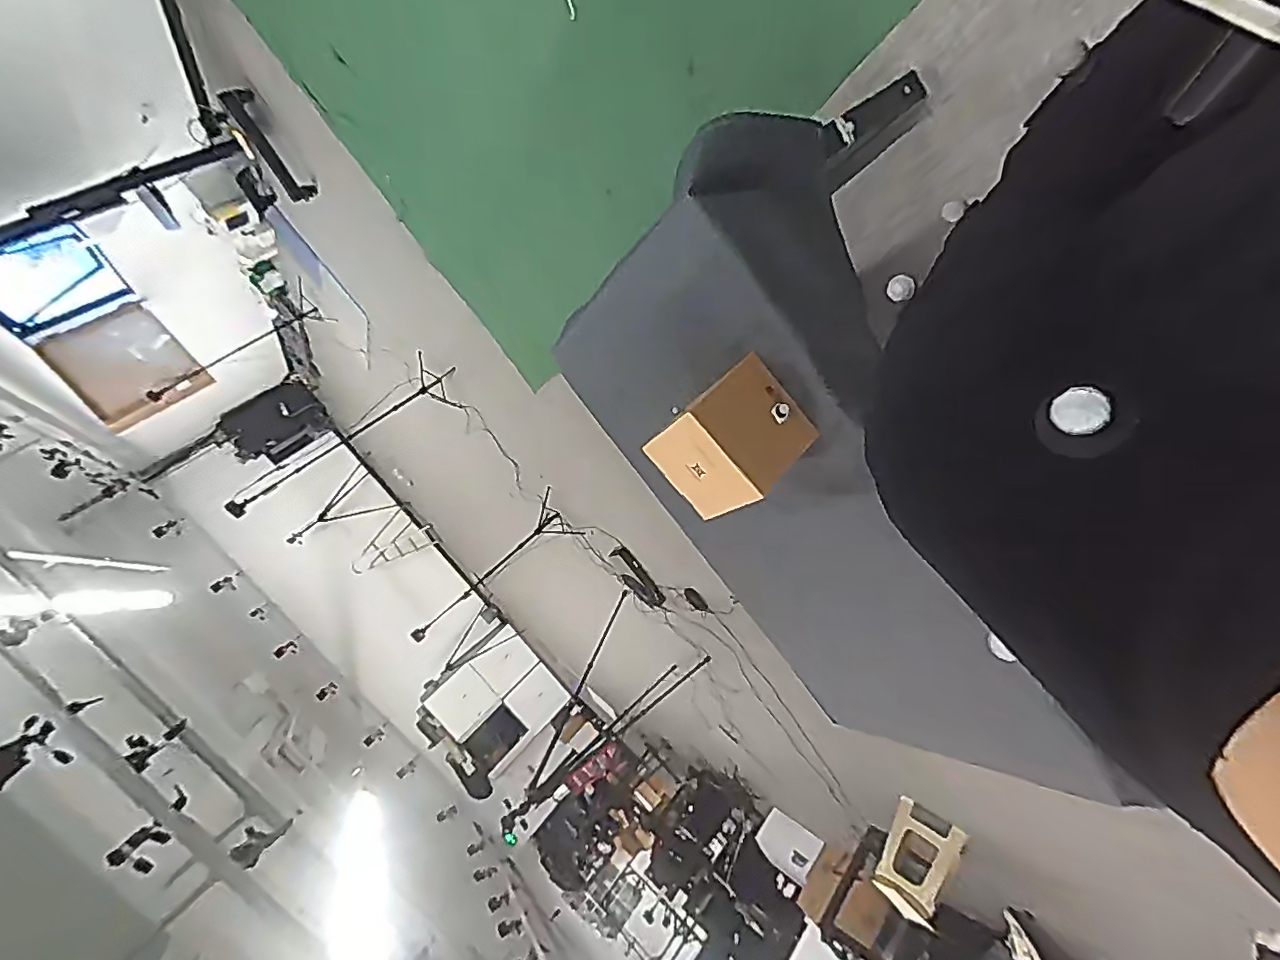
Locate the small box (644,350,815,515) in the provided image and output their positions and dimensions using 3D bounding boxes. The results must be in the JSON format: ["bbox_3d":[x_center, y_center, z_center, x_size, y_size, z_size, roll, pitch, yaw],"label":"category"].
[{"bbox_3d":[0.143,-0.071,0.864,0.168,0.176,0.179,47,153,-4],"label":"small box"}]
